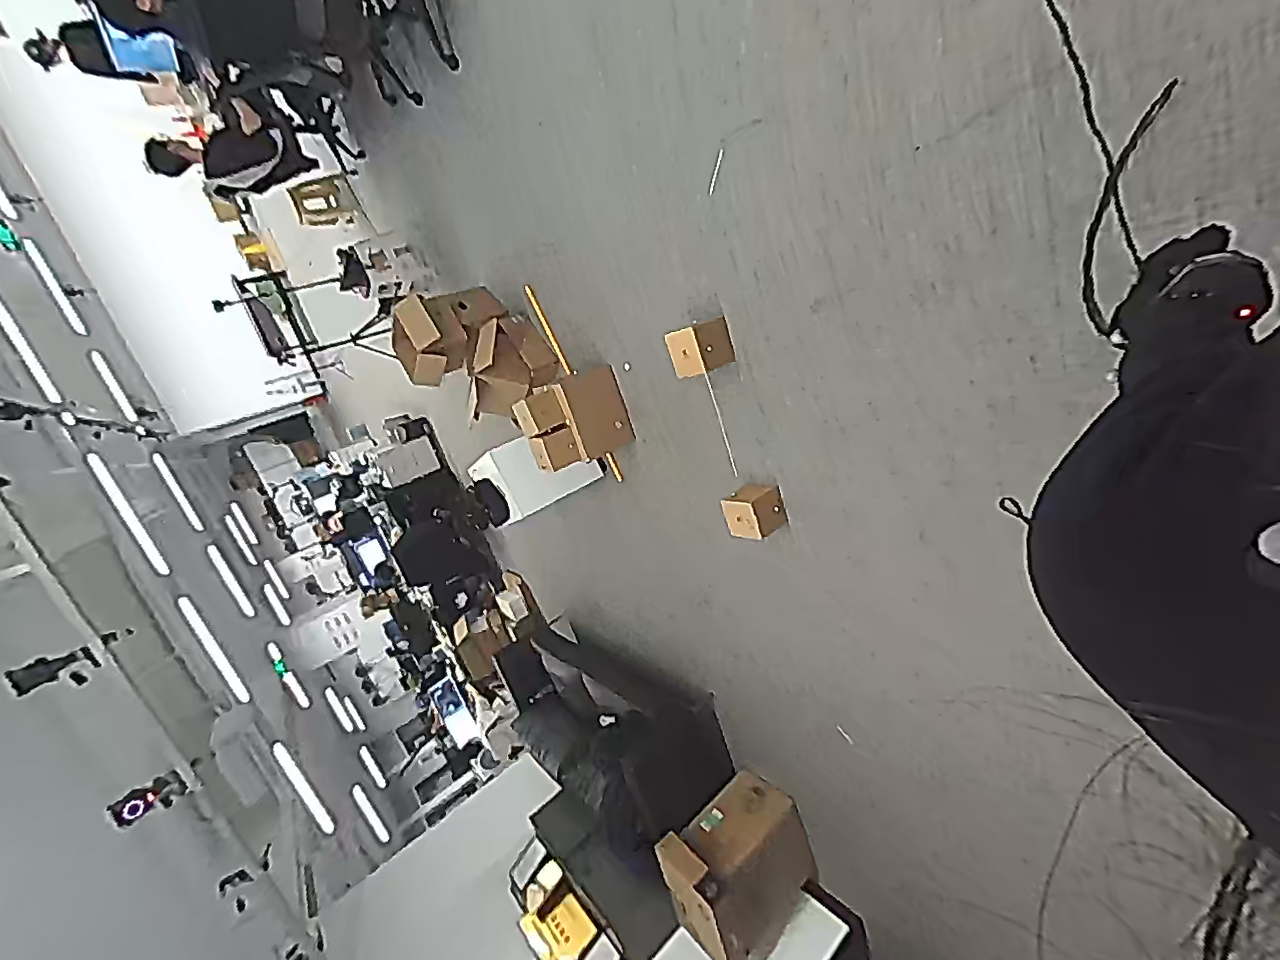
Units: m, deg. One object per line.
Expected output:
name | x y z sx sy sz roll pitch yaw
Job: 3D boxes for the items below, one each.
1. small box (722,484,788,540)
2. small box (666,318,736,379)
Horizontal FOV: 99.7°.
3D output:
small box | 0.469 0.124 2.199 0.179 0.176 0.168 2 117 55
small box | 0.231 -0.498 2.035 0.168 0.176 0.179 2 117 55
